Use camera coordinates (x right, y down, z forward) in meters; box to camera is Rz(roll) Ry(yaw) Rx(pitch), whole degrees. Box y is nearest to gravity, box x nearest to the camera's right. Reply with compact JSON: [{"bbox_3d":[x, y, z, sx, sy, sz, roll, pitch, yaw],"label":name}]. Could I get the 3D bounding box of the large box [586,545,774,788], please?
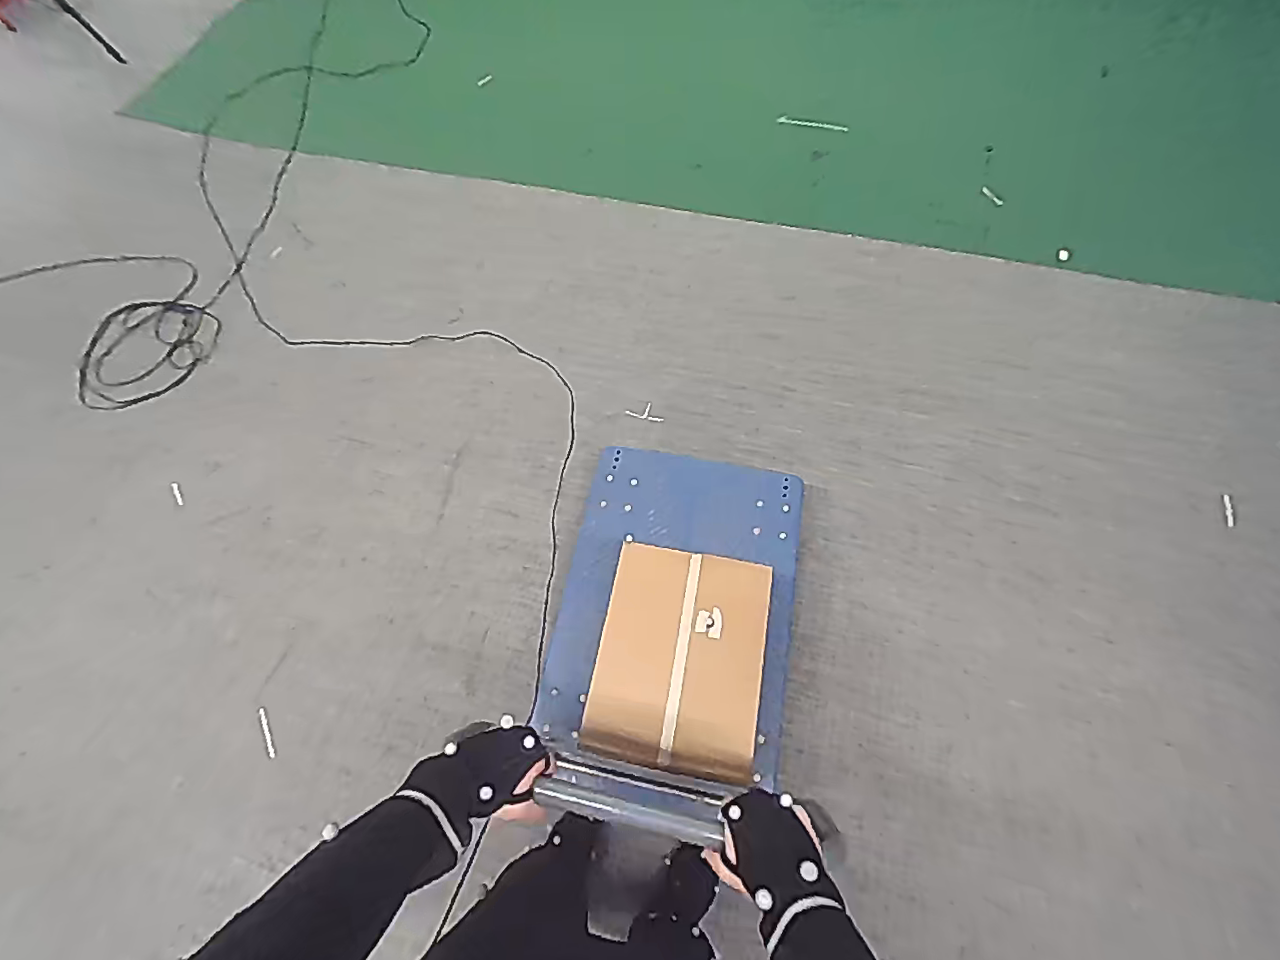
[{"bbox_3d":[0.094,0.399,1.155,0.320,0.320,0.408,9,64,7],"label":"large box"}]
